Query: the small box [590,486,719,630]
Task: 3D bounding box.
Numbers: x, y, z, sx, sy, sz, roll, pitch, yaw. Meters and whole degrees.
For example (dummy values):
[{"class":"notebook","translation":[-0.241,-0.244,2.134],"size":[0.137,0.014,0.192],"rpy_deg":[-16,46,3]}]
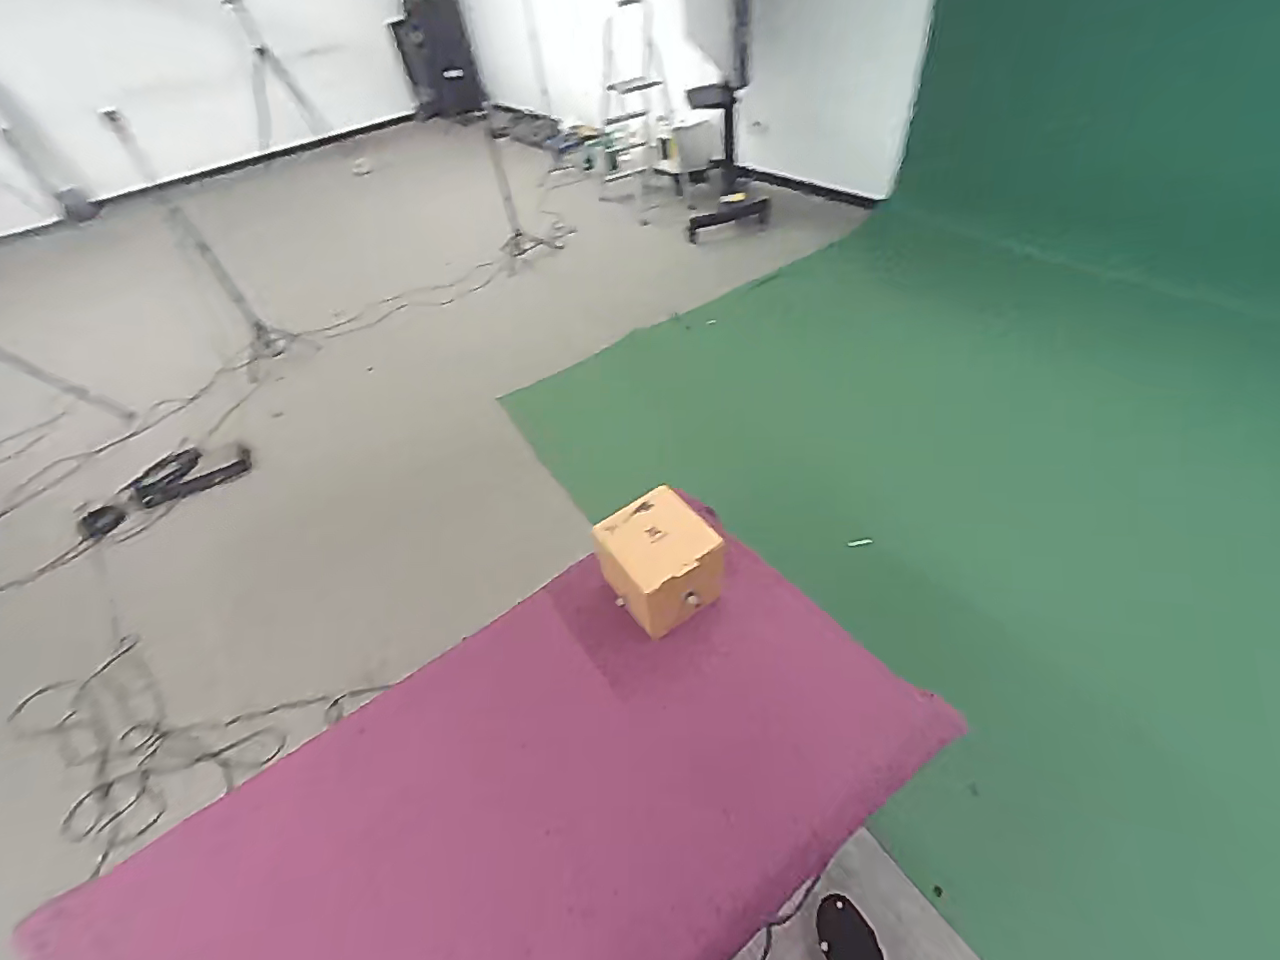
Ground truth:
[{"class":"small box","translation":[0.031,0.151,0.999],"size":[0.168,0.176,0.179],"rpy_deg":[-30,52,-19]}]
